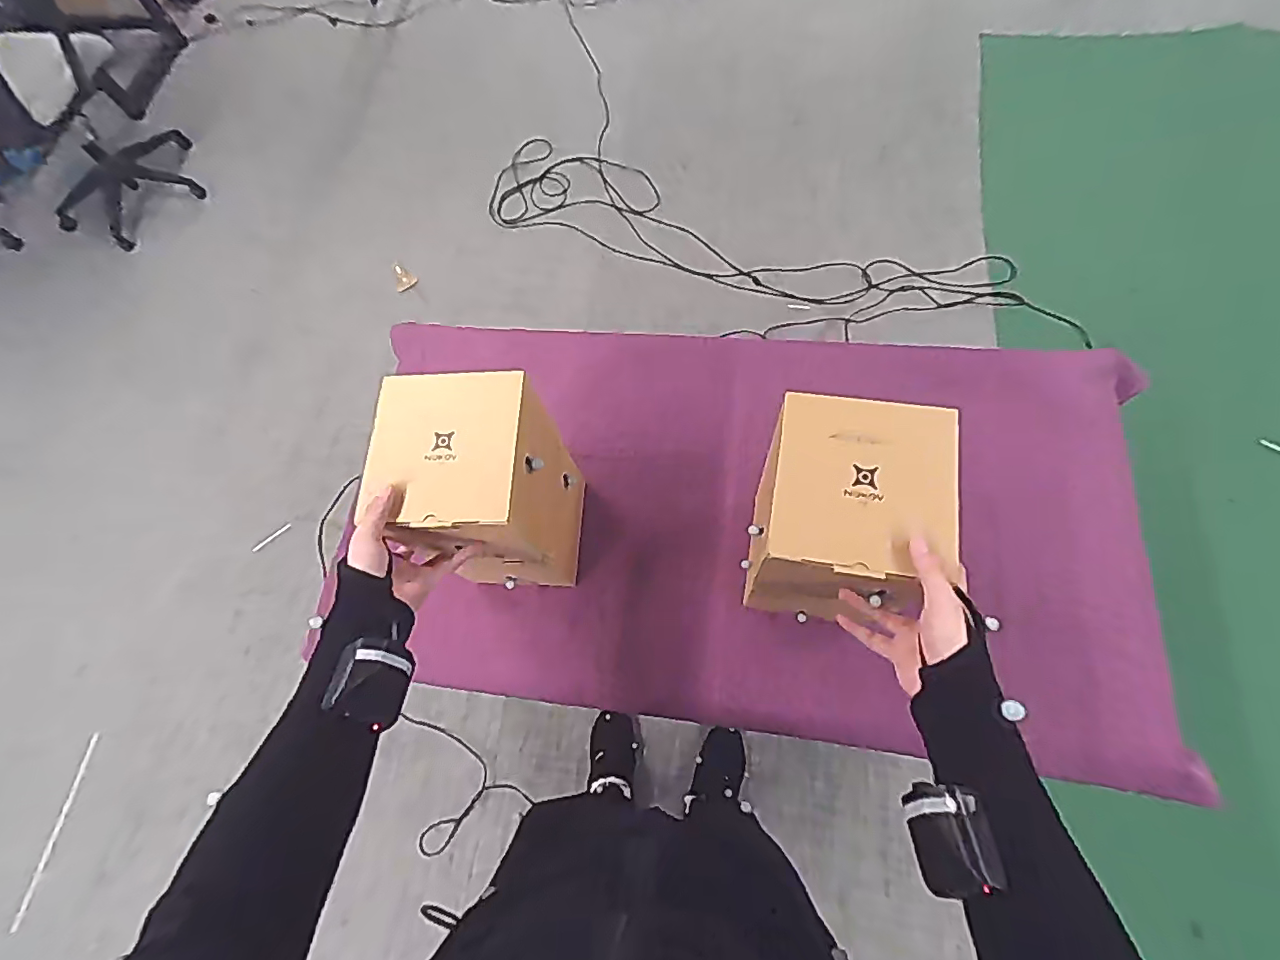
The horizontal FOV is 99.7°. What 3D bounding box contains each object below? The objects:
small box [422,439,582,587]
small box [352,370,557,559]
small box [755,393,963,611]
[{"bbox_3d":[-0.185,0.050,0.787,0.168,0.176,0.179,1,69,7],"label":"small box"},{"bbox_3d":[-0.199,-0.010,0.636,0.168,0.176,0.179,-1,70,6],"label":"small box"},{"bbox_3d":[0.219,0.032,0.574,0.168,0.176,0.179,9,70,10],"label":"small box"}]
